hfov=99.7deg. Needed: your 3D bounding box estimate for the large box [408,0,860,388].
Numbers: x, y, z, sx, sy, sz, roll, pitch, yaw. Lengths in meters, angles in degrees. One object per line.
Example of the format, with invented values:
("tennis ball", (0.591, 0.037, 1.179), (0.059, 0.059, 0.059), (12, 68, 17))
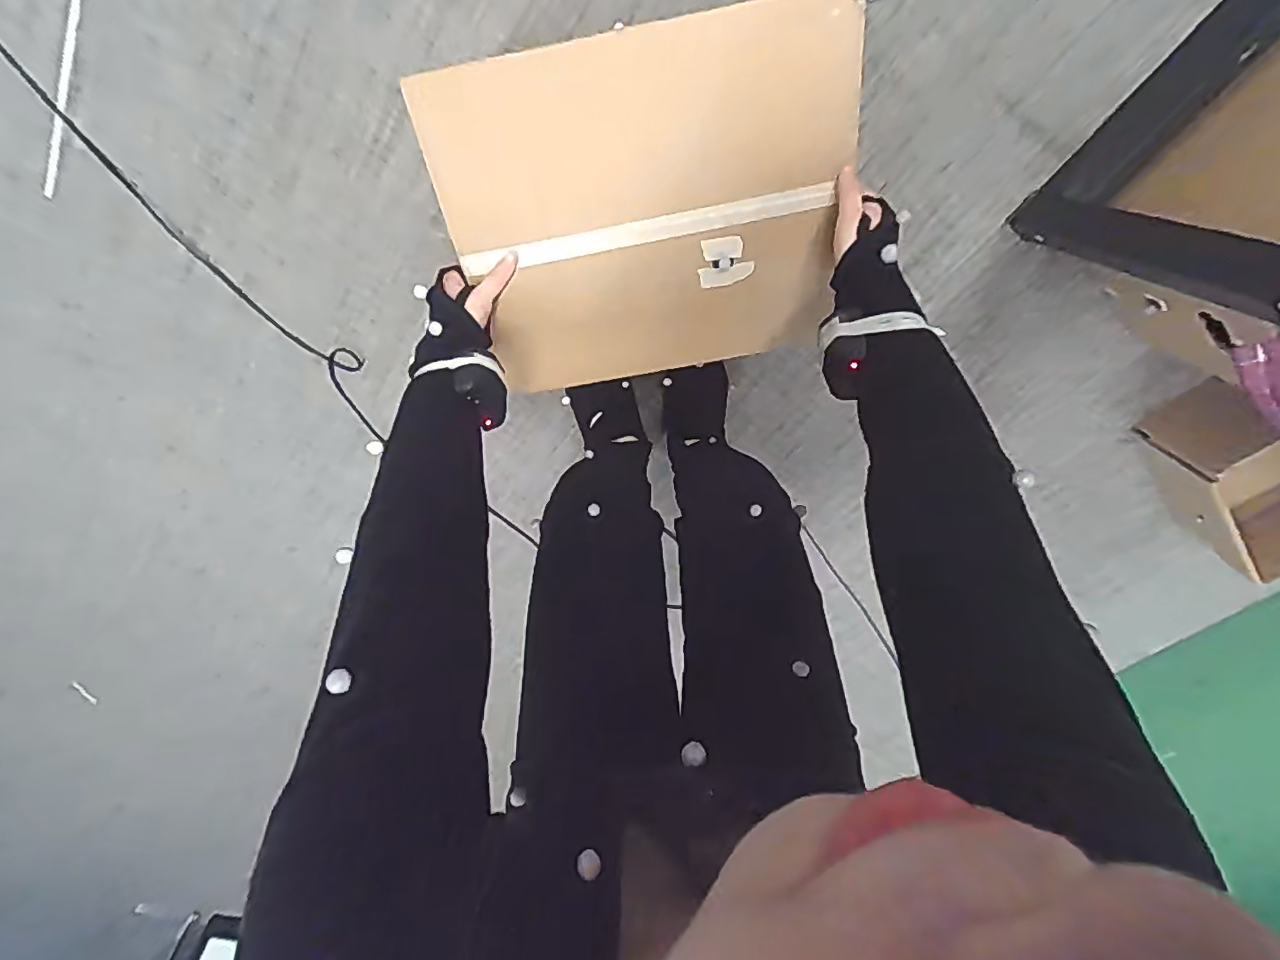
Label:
("large box", (0.006, -0.349, 0.665), (0.408, 0.320, 0.320), (-10, 126, 3))
